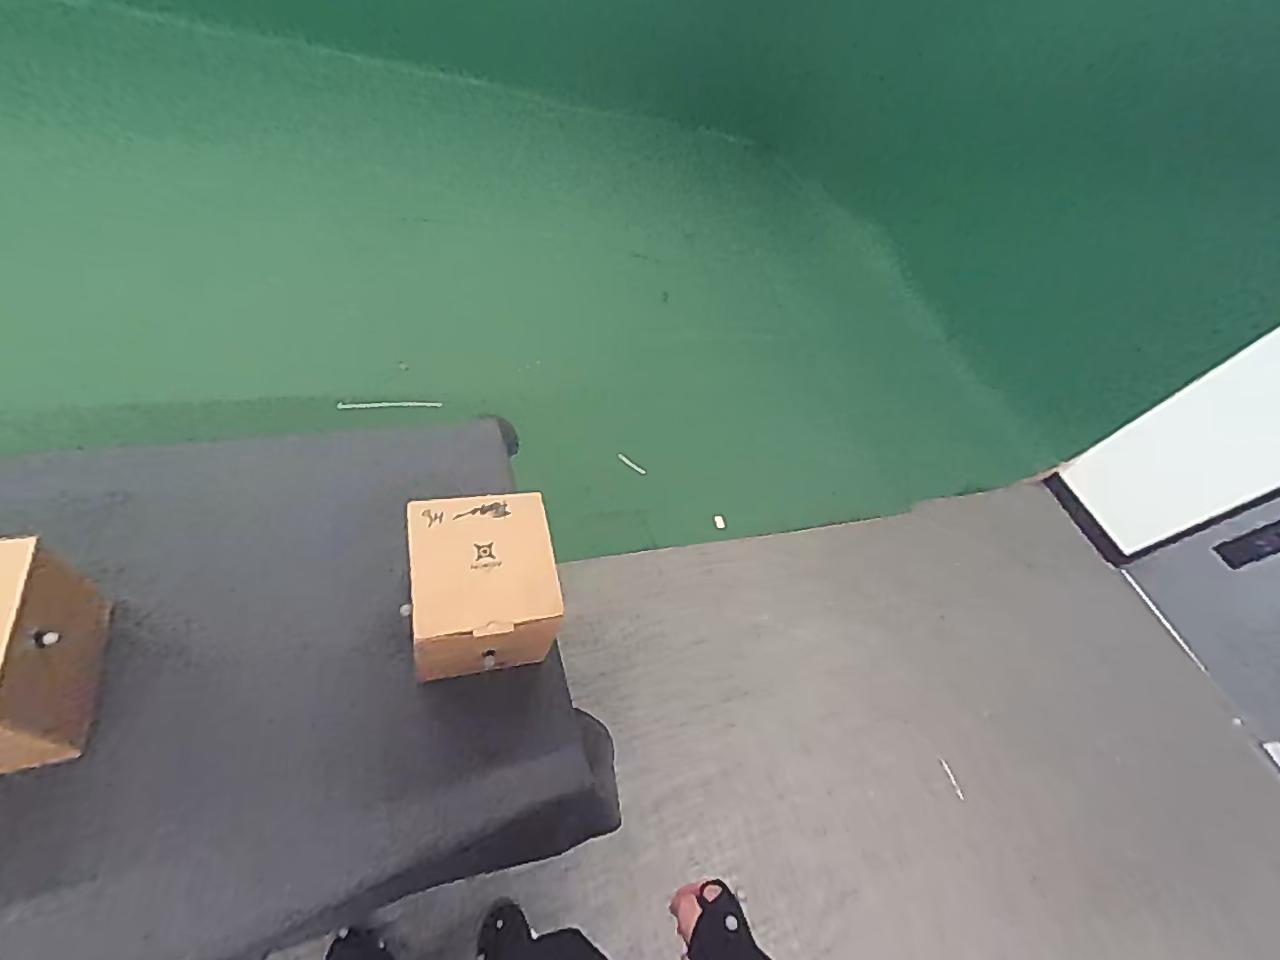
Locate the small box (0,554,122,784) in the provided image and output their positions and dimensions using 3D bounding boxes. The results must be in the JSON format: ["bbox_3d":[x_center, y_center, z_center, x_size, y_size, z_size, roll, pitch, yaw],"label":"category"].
[{"bbox_3d":[-0.647,0.195,0.519,0.168,0.176,0.179,-5,57,-25],"label":"small box"}]

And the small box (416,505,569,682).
[{"bbox_3d":[-0.199,0.153,0.709,0.168,0.176,0.179,-4,58,-22],"label":"small box"}]
